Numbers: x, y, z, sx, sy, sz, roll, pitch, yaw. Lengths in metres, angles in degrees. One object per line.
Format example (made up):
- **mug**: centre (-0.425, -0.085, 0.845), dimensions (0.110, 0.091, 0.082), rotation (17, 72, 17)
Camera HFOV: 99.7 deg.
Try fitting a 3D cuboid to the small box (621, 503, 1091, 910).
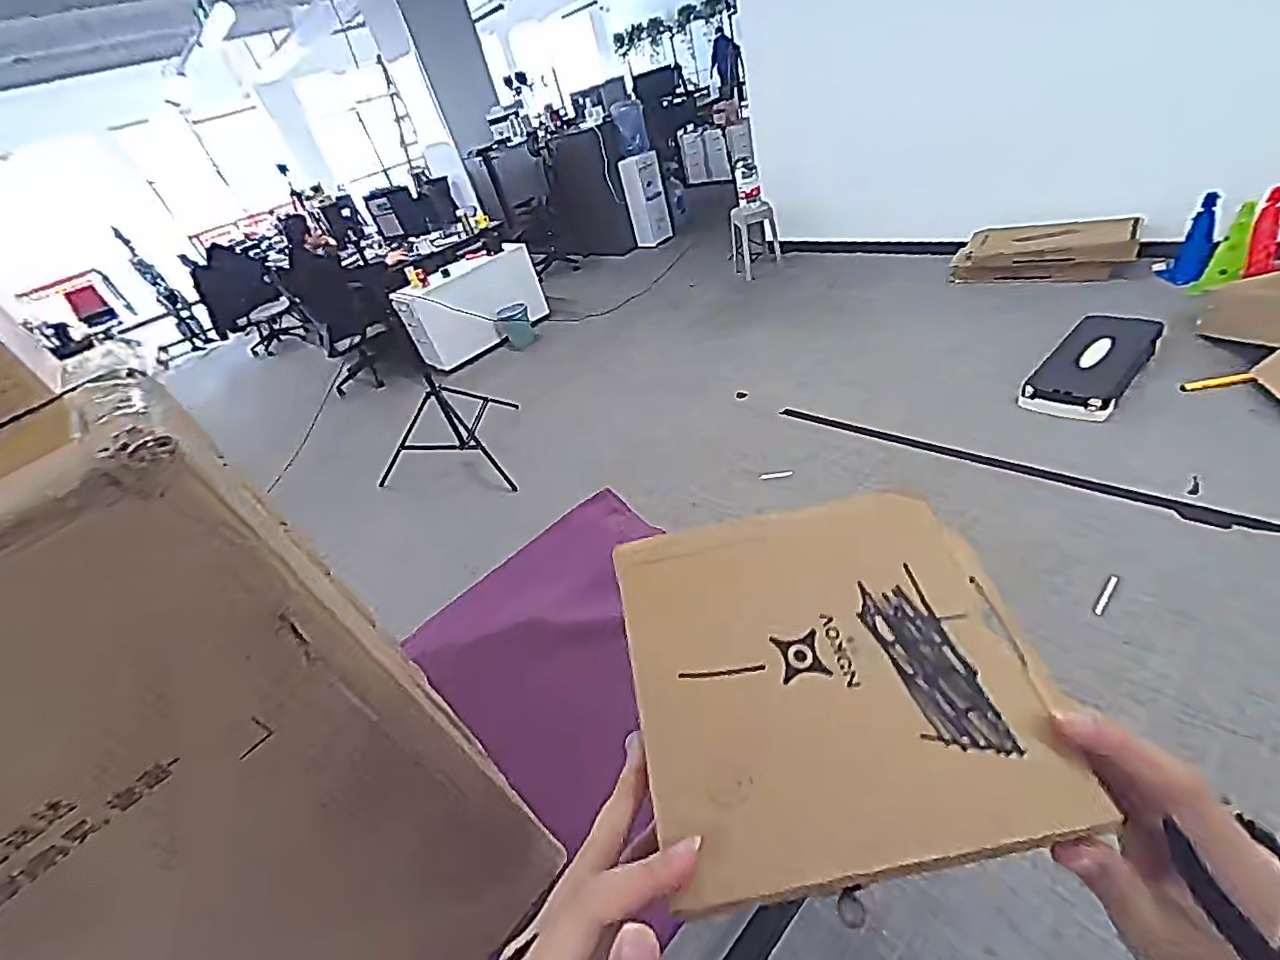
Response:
- **small box**: centre (0.092, 0.139, 0.323), dimensions (0.179, 0.176, 0.168), rotation (-10, 50, 0)
